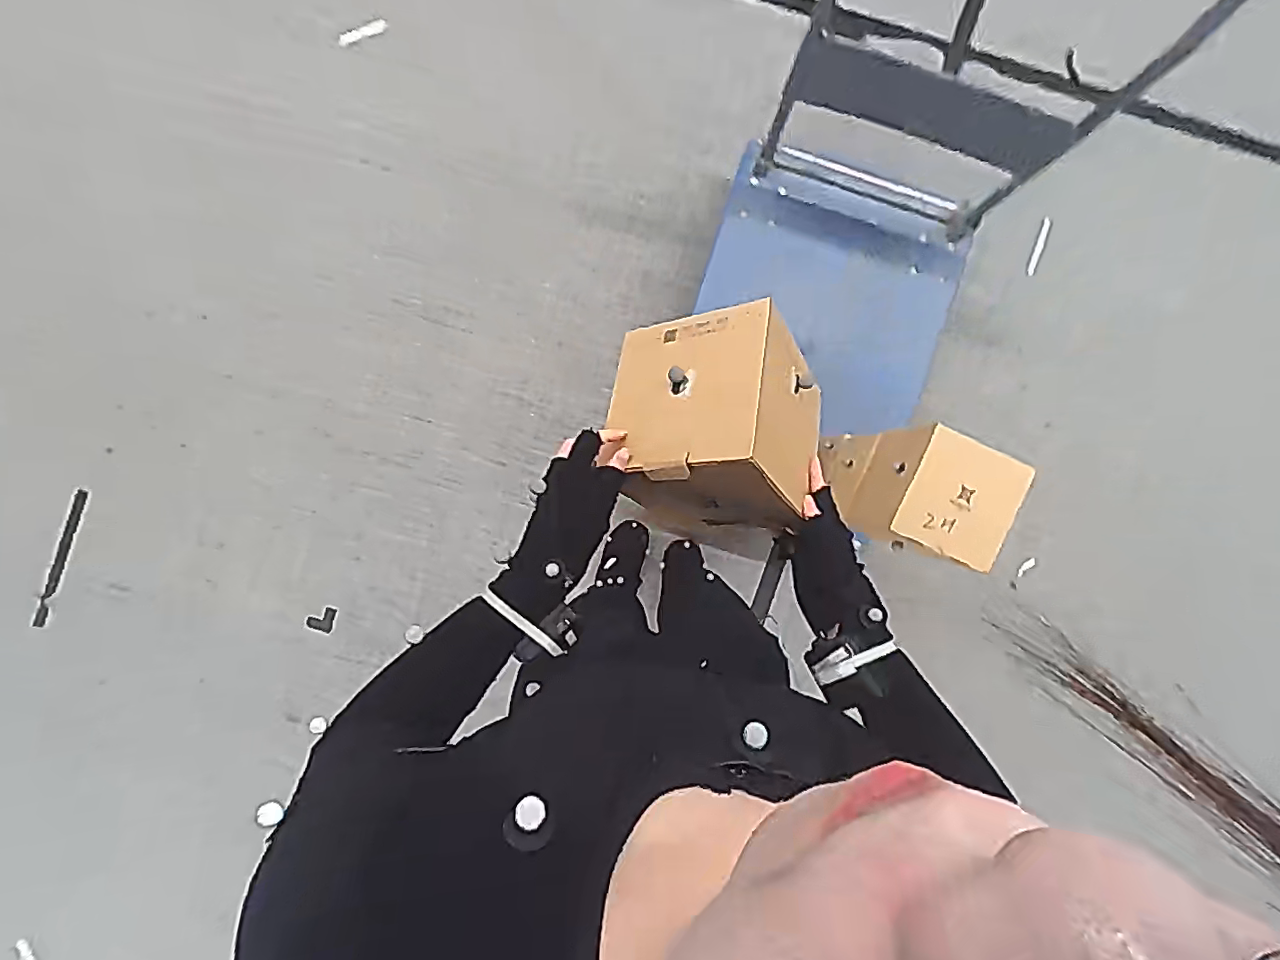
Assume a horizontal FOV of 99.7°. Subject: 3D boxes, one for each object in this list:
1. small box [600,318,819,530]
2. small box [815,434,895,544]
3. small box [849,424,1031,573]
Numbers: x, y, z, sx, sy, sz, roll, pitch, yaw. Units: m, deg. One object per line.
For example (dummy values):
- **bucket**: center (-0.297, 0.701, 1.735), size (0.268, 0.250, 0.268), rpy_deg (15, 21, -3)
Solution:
- **small box**: center (0.084, -0.053, 0.575), size (0.168, 0.179, 0.176), rpy_deg (-3, 66, 34)
- **small box**: center (0.469, 0.023, 1.047), size (0.179, 0.176, 0.168), rpy_deg (24, 91, -2)
- **small box**: center (0.472, 0.026, 0.882), size (0.168, 0.176, 0.179), rpy_deg (25, 91, -2)
